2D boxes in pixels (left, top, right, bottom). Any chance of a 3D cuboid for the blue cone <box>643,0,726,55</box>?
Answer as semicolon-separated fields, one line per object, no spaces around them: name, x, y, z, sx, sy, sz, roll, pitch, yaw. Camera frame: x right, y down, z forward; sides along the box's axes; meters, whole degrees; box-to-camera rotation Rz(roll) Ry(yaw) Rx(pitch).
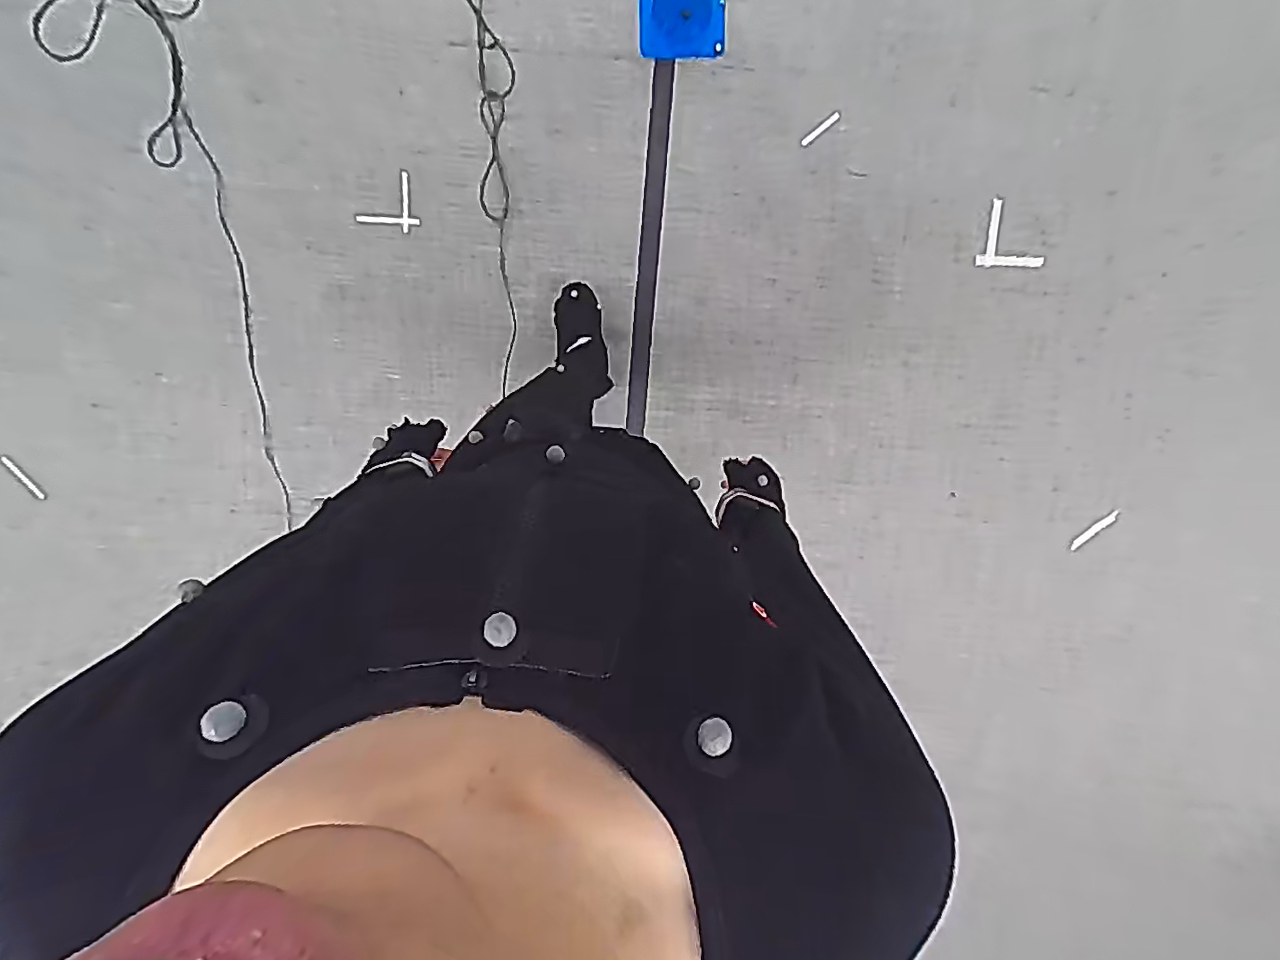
blue cone;0.109;-1.054;1.083;0.192;0.380;0.193;0;102;-2
